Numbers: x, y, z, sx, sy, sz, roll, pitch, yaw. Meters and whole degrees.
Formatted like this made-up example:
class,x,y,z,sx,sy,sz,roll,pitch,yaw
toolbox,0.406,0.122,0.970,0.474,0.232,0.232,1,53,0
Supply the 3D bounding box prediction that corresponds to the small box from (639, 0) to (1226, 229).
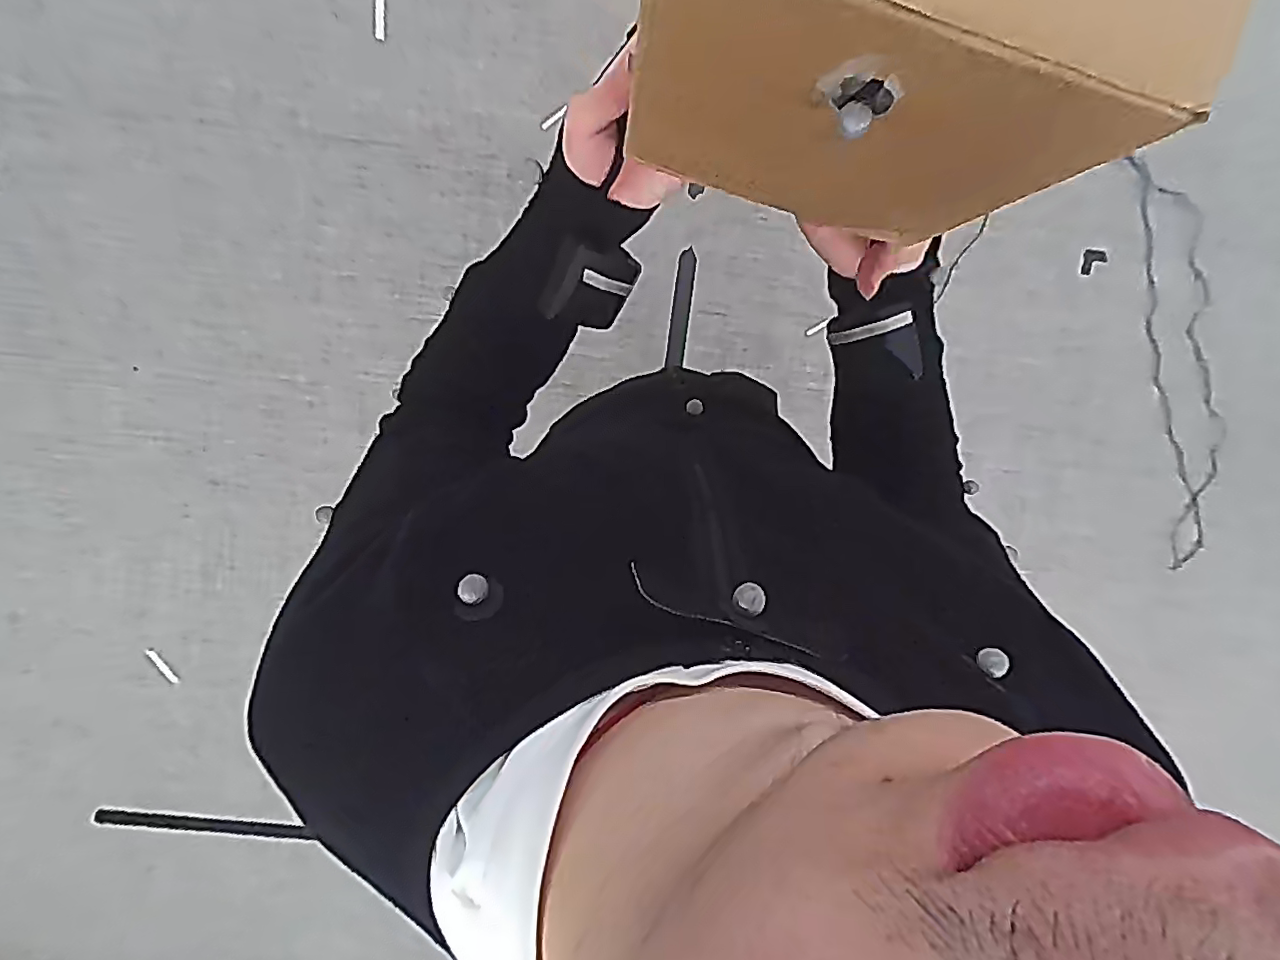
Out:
class,x,y,z,sx,sy,sz,roll,pitch,yaw
small box,0.103,-0.227,0.228,0.179,0.176,0.168,13,100,-7
